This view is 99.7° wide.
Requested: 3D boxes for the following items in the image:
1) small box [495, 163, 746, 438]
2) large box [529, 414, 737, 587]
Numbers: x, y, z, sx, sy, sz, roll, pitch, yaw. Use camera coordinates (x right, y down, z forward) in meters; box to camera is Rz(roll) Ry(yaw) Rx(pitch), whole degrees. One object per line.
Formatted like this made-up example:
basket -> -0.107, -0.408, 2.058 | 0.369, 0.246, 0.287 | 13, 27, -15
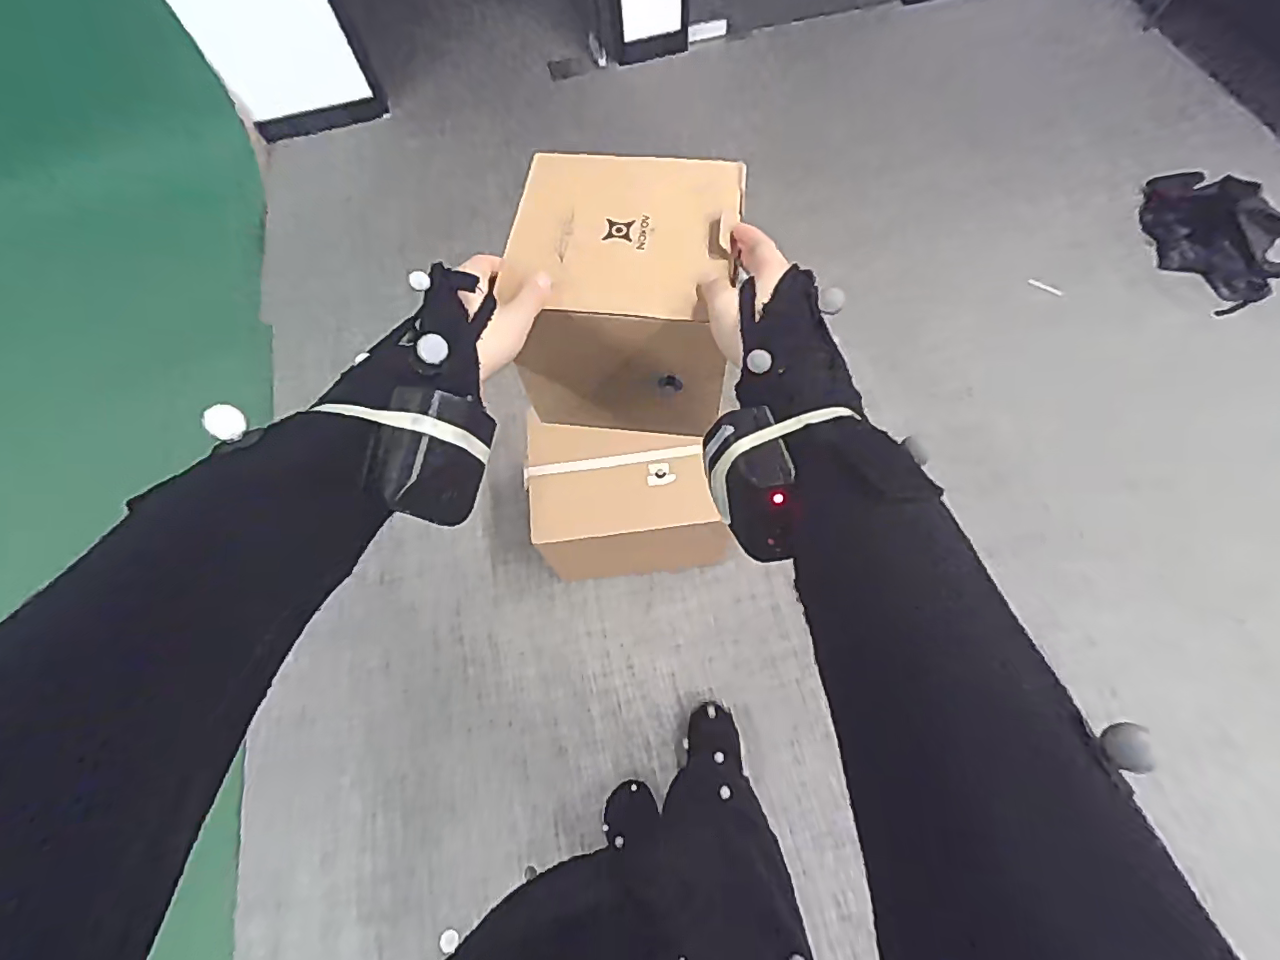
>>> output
small box -> -0.005, -0.150, 0.485 | 0.179, 0.176, 0.168 | 5, 65, 7
large box -> -0.020, 0.035, 1.238 | 0.408, 0.320, 0.320 | -7, 65, -1
